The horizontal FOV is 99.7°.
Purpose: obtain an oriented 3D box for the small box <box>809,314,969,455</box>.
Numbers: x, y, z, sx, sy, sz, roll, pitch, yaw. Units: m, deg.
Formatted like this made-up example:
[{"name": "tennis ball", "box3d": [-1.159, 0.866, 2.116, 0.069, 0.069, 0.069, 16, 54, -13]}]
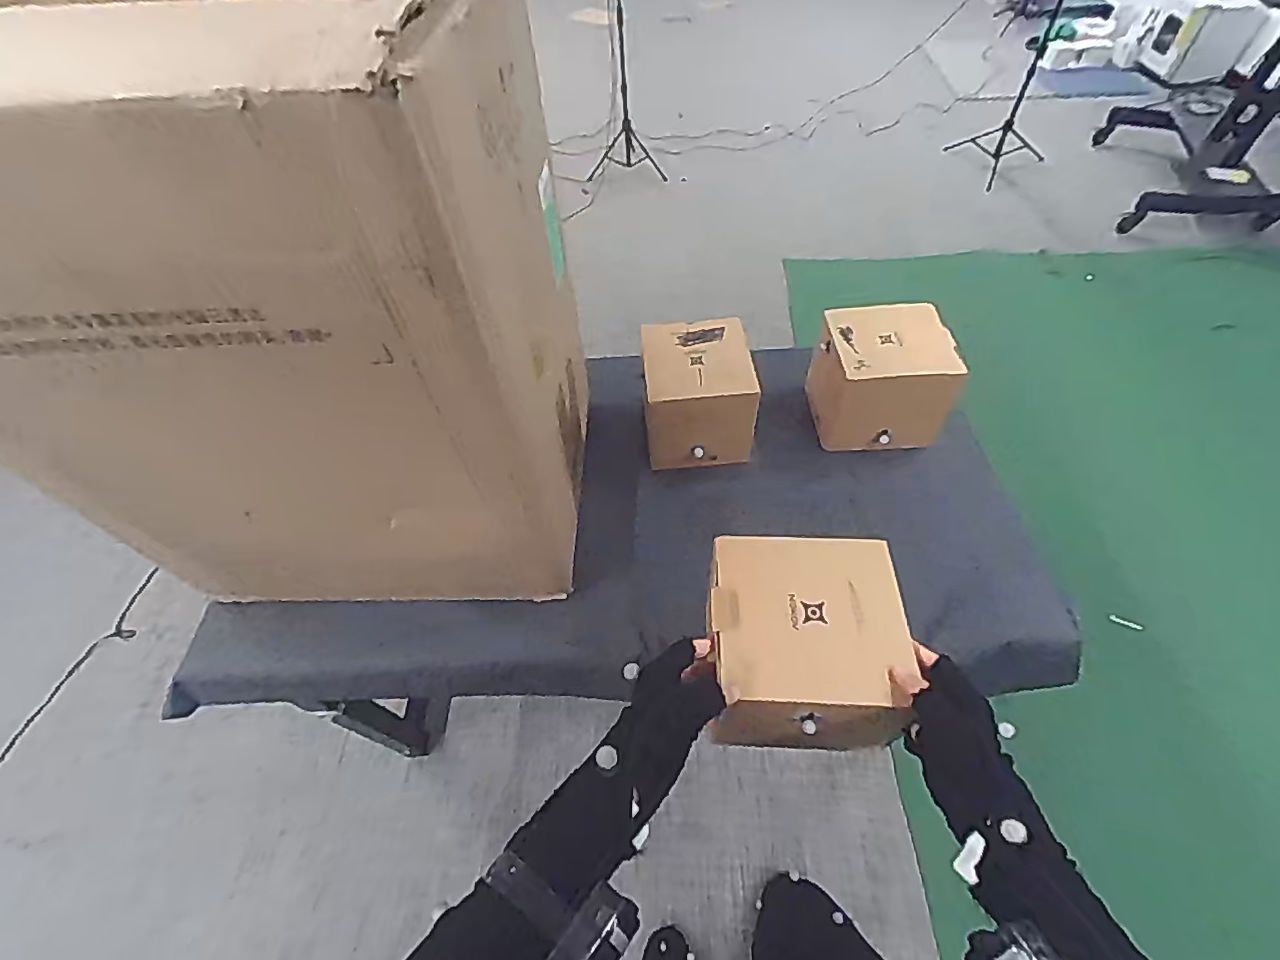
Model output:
[{"name": "small box", "box3d": [0.398, -0.154, 0.900, 0.179, 0.176, 0.168, -2, 53, 2]}]
